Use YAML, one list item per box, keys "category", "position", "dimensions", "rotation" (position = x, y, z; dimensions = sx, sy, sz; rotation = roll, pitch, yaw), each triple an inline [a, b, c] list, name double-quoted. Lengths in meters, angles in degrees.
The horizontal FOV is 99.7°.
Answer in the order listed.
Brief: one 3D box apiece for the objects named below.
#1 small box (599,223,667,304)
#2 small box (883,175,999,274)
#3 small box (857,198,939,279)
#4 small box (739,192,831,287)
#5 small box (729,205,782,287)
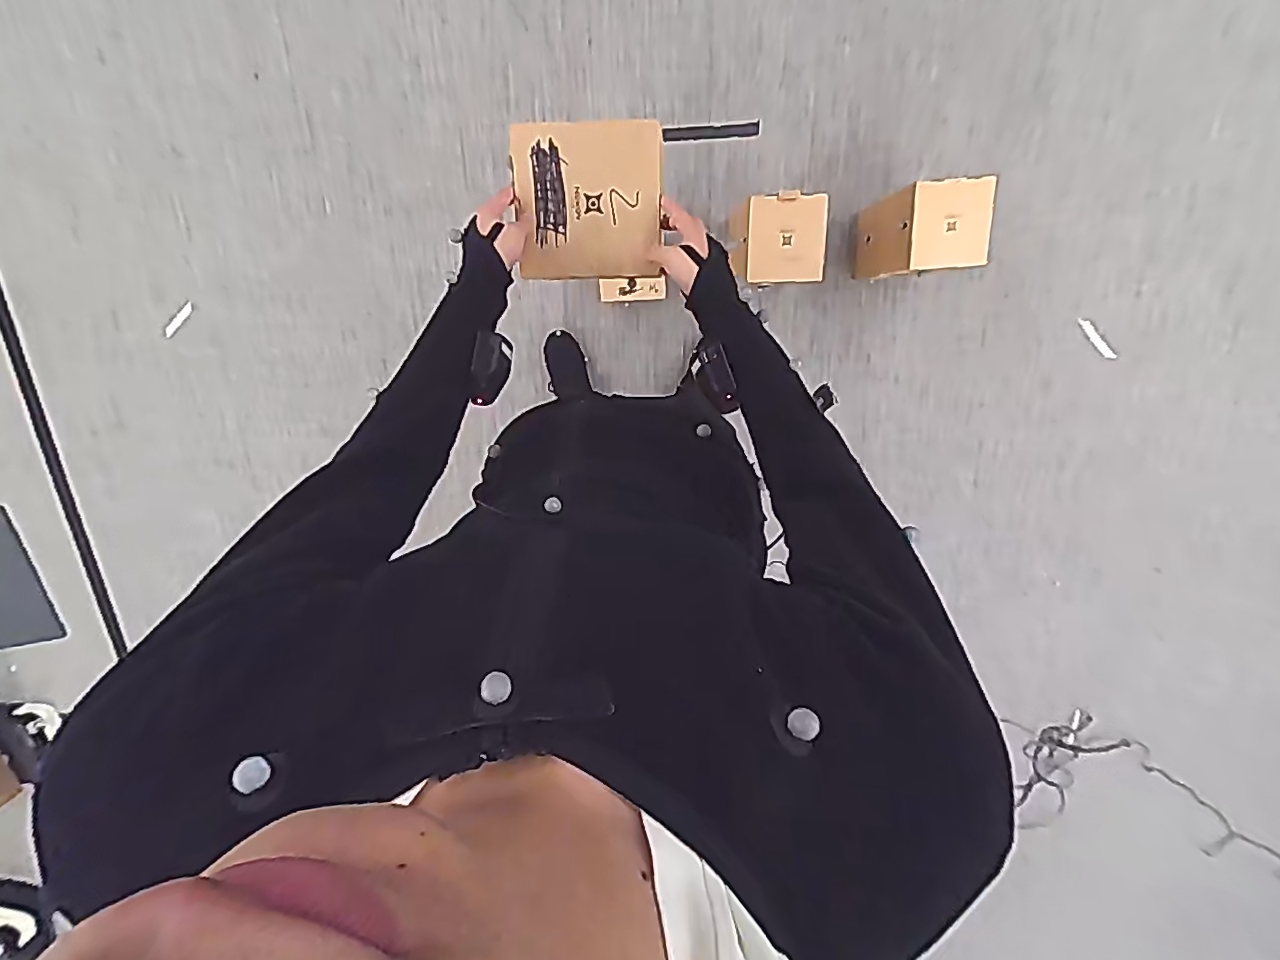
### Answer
- category: "small box"
  position: [-0.015, -0.552, 1.397]
  dimensions: [0.168, 0.176, 0.179]
  rotation: [-2, 106, 3]
- category: "small box"
  position: [0.660, -0.560, 1.209]
  dimensions: [0.168, 0.176, 0.179]
  rotation: [-3, 106, 2]
- category: "small box"
  position: [0.660, -0.607, 1.364]
  dimensions: [0.168, 0.176, 0.179]
  rotation: [-4, 106, 2]
- category: "small box"
  position: [0.318, -0.535, 1.221]
  dimensions: [0.168, 0.176, 0.179]
  rotation: [-1, 107, 2]
- category: "small box"
  position: [0.320, -0.589, 1.376]
  dimensions: [0.168, 0.176, 0.179]
  rotation: [-1, 107, 2]
